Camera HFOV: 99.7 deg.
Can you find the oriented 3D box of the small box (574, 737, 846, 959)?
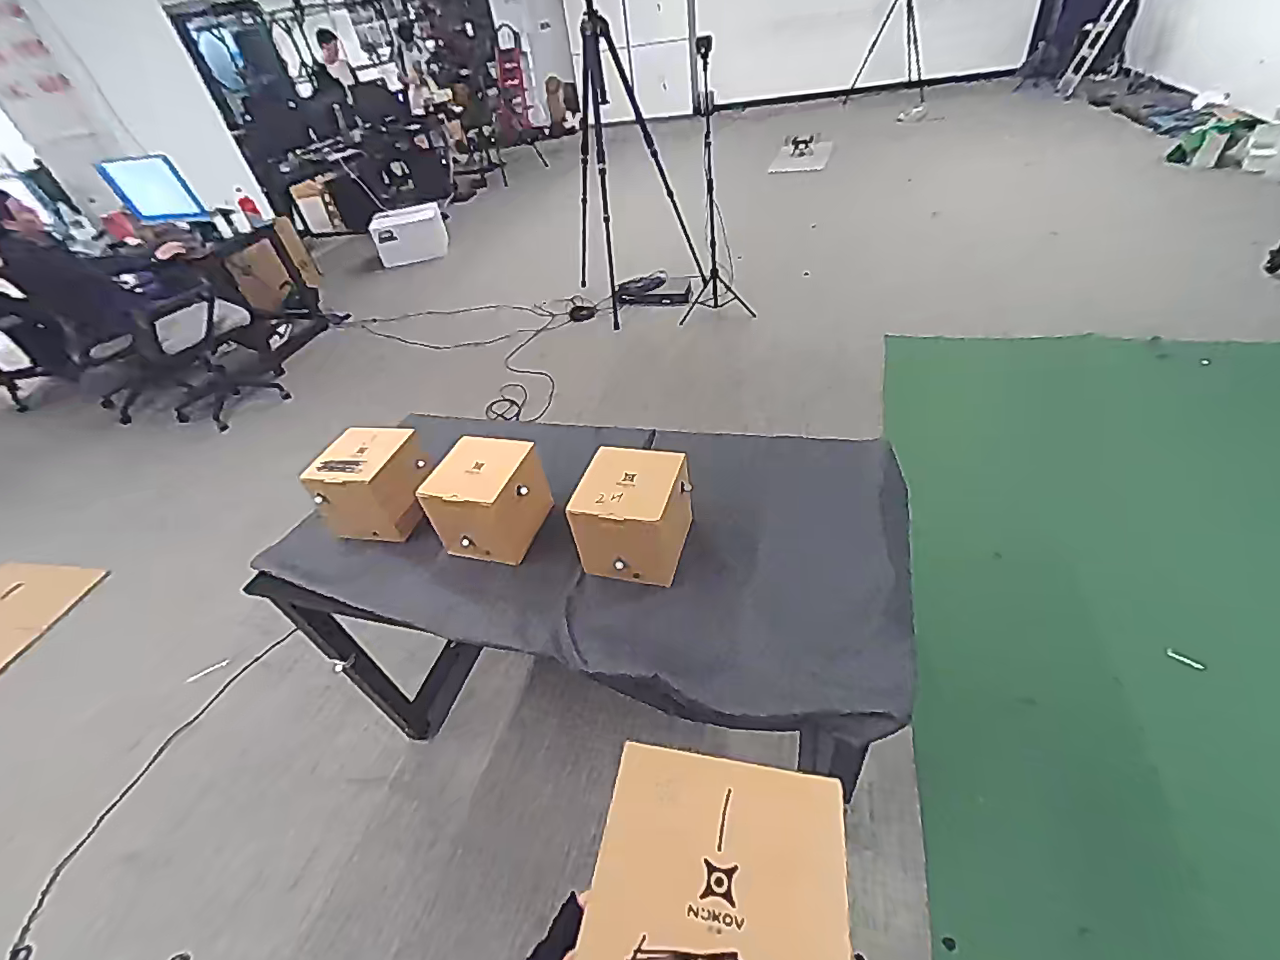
[{"bbox_3d":[0.058,0.329,0.407,0.168,0.176,0.179,4,42,13],"label":"small box"}]

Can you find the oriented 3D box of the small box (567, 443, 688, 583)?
[{"bbox_3d":[-0.011,0.057,0.978,0.168,0.176,0.179,6,44,18],"label":"small box"}]

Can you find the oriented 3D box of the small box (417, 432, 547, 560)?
[{"bbox_3d":[-0.296,0.029,1.064,0.168,0.176,0.179,7,45,17],"label":"small box"}]
